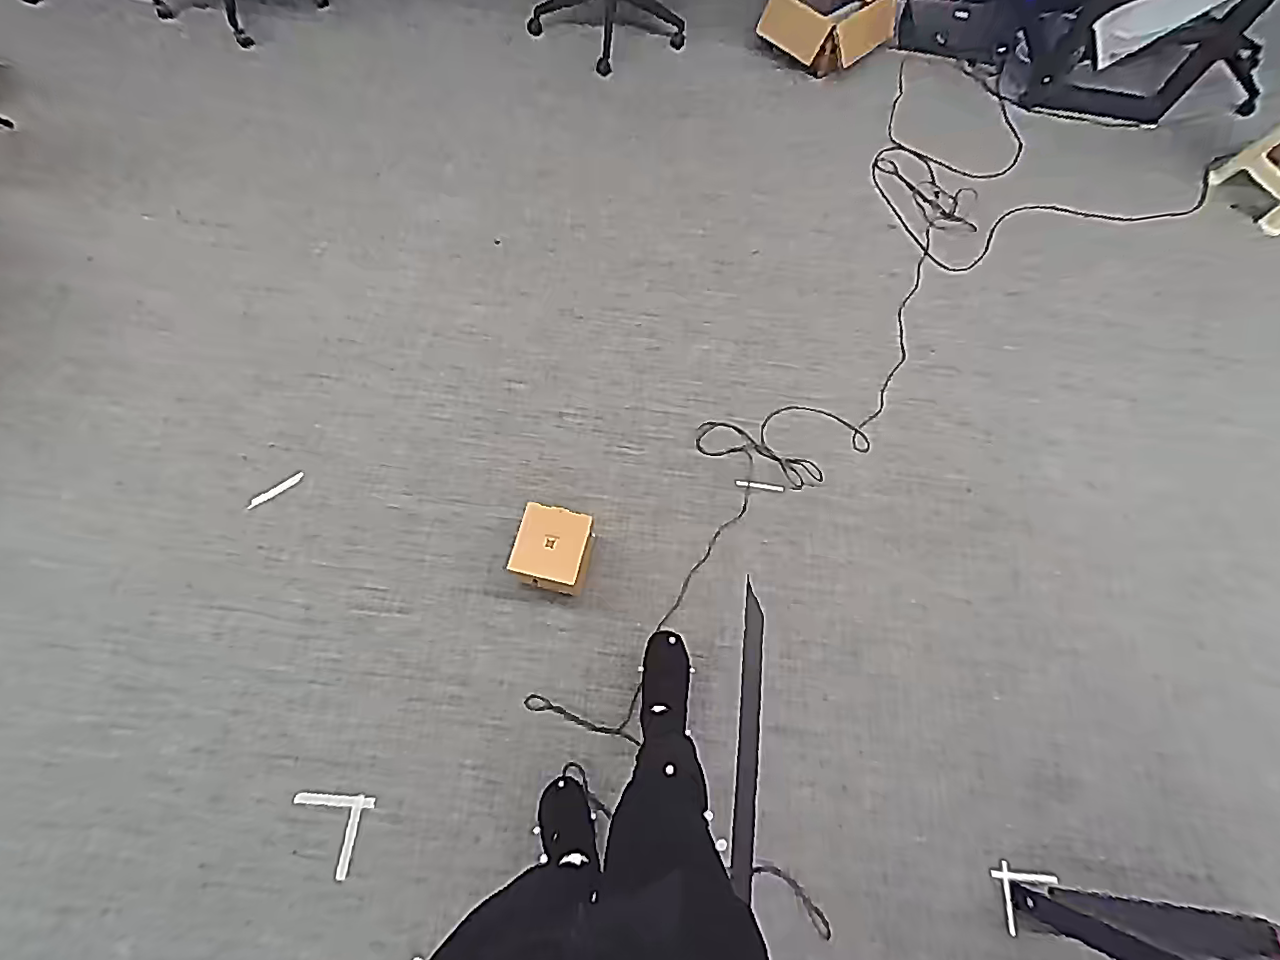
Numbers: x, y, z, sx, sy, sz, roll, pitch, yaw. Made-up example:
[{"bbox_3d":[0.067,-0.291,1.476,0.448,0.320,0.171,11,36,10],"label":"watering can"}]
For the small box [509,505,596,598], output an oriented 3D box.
[{"bbox_3d":[-0.210,0.186,1.355,0.168,0.176,0.179,13,67,3],"label":"small box"}]
